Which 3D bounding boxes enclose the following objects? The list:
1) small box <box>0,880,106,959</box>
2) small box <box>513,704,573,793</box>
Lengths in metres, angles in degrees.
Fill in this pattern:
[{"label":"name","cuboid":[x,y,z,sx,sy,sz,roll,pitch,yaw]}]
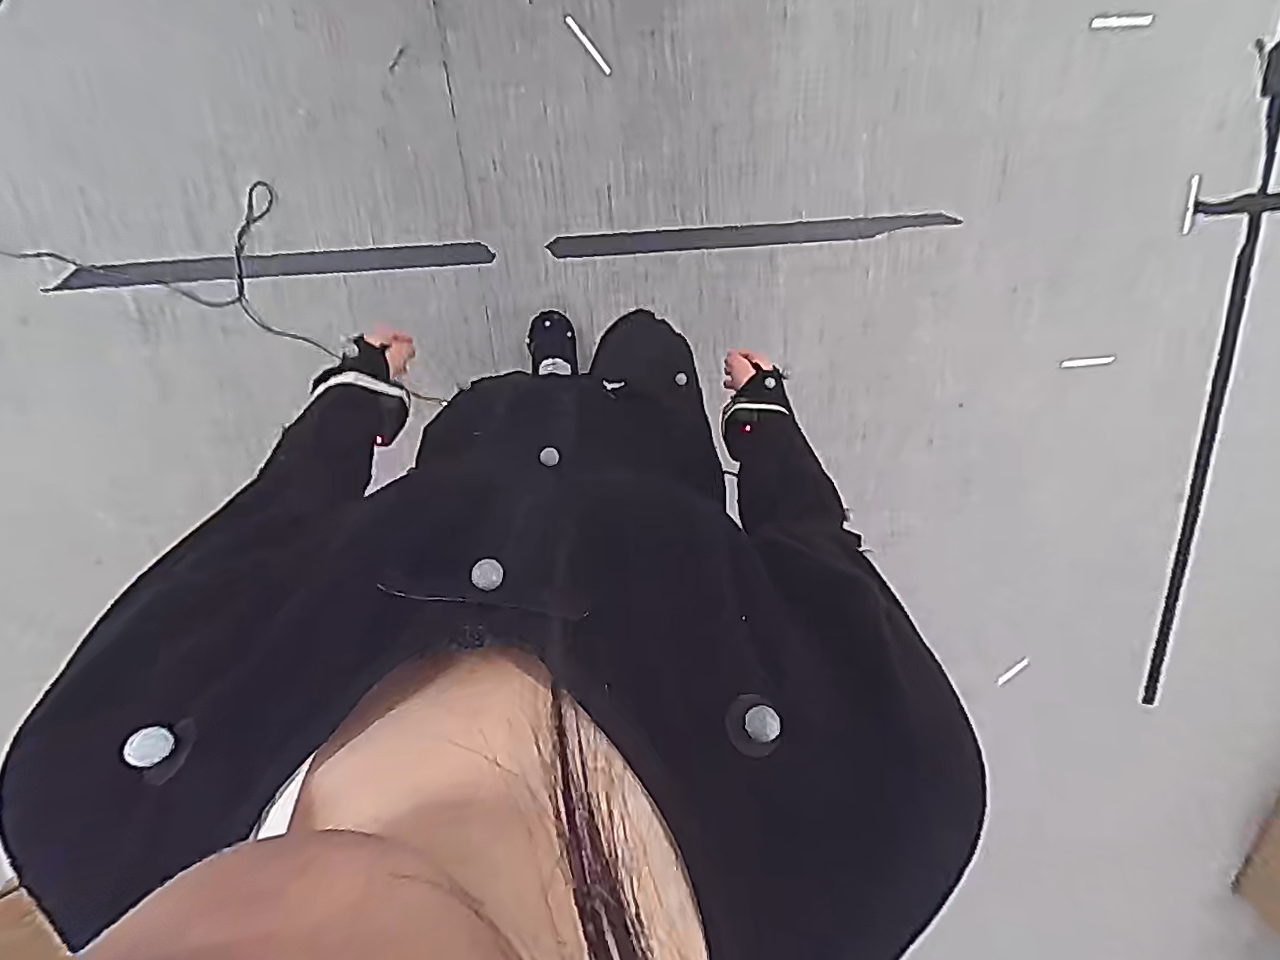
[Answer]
[{"label":"small box","cuboid":[-1.091,0.828,0.912,0.168,0.176,0.179,-44,104,8]},{"label":"small box","cuboid":[-0.288,0.797,1.625,0.168,0.176,0.179,-3,106,-7]}]
